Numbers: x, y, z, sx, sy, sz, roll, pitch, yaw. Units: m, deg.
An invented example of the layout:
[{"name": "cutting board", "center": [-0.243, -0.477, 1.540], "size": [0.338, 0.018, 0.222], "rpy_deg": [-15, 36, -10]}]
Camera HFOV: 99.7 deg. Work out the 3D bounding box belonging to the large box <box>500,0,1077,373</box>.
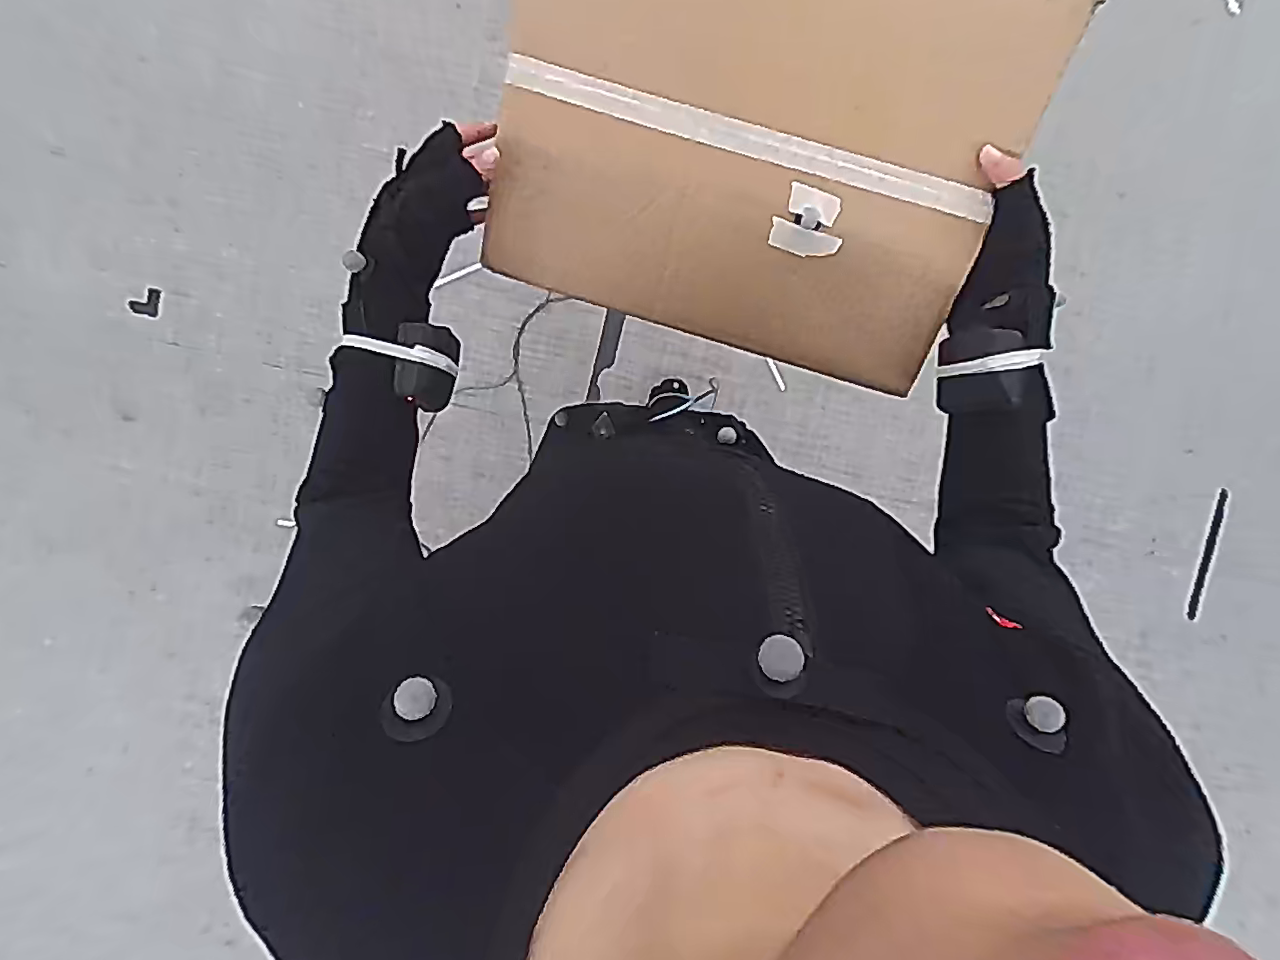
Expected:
[{"name": "large box", "center": [0.112, -0.342, 0.585], "size": [0.408, 0.320, 0.320], "rpy_deg": [18, 114, 2]}]
